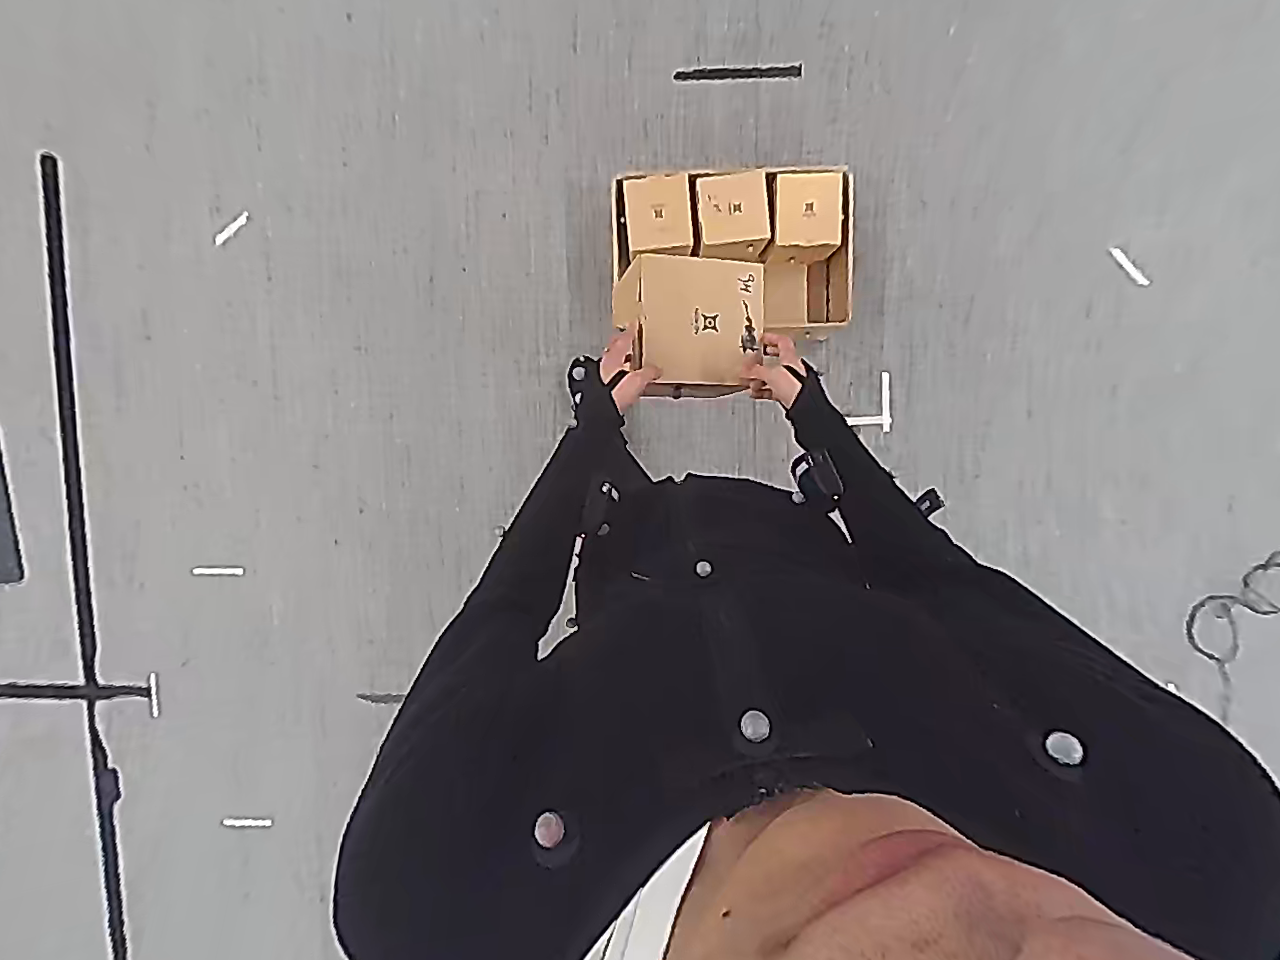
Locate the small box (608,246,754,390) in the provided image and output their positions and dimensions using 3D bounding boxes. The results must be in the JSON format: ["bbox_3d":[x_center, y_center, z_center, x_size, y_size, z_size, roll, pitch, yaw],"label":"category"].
[{"bbox_3d":[0.048,-0.219,0.774,0.179,0.176,0.168,-2,94,-13],"label":"small box"}]
